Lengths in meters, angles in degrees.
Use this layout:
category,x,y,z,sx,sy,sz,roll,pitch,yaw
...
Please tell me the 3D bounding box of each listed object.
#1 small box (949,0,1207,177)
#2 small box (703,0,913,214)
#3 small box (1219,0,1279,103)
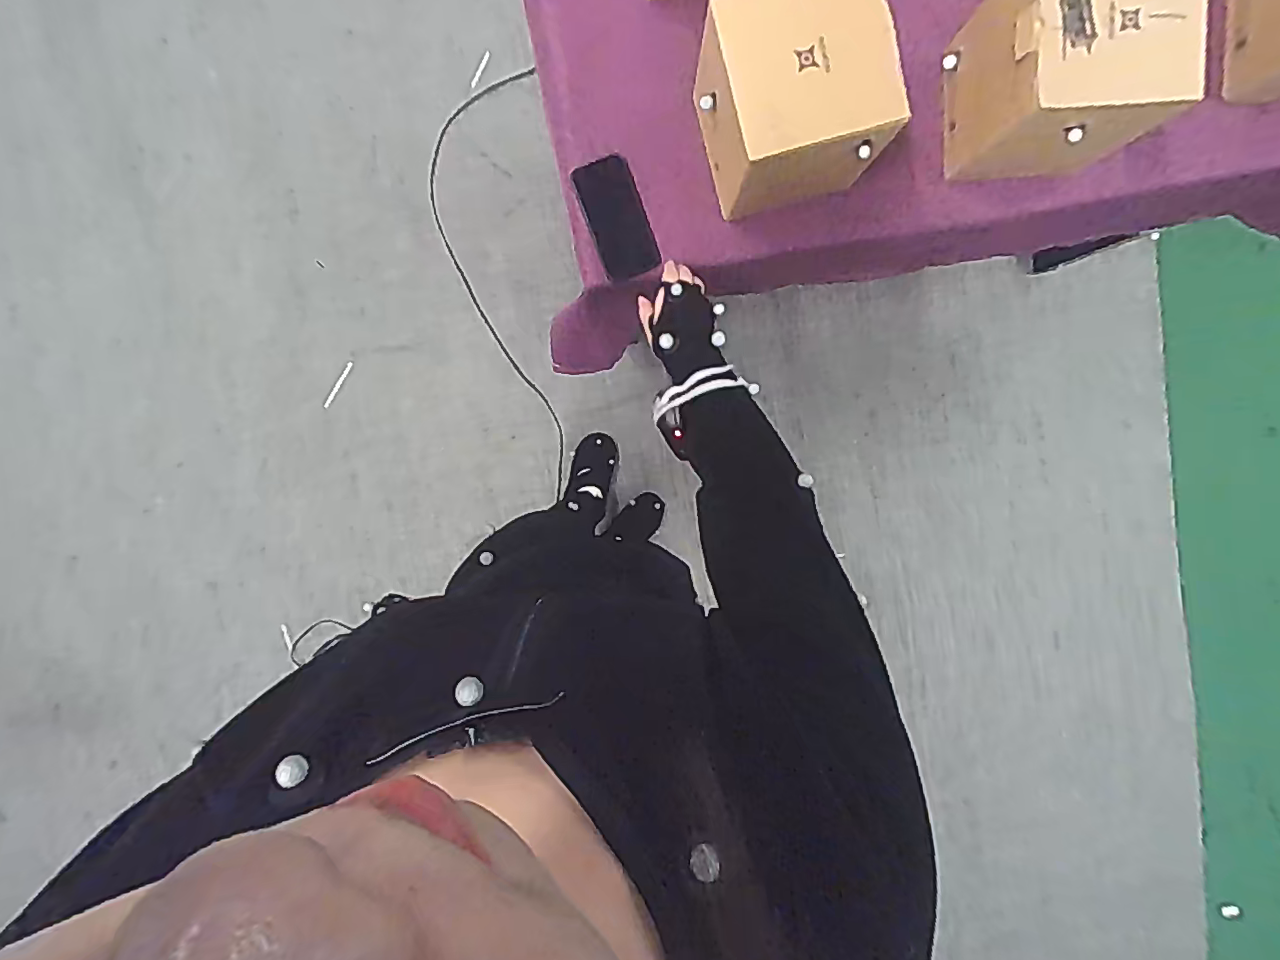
category,x,y,z,sx,sy,sz,roll,pitch,yaw
small box,0.489,-0.475,0.629,0.179,0.176,0.168,-4,97,-1
small box,0.178,-0.438,0.630,0.179,0.176,0.168,-15,96,0
small box,0.848,-0.569,0.624,0.179,0.176,0.168,-2,96,-1
